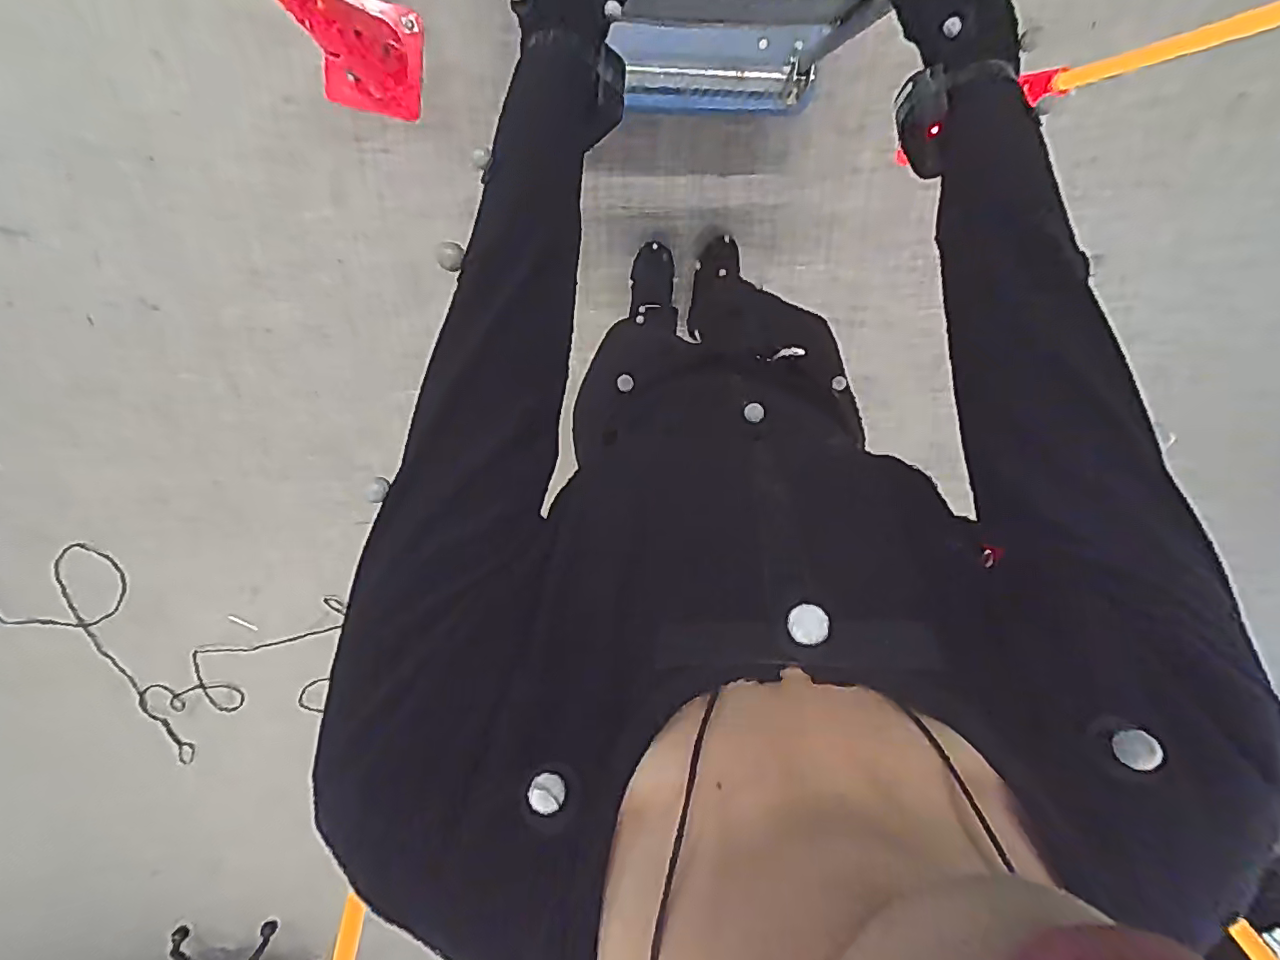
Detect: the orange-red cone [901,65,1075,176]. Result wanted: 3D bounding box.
[{"bbox_3d":[0.730,-0.761,1.097,0.198,0.360,0.199,8,113,-6],"label":"orange-red cone"}]
